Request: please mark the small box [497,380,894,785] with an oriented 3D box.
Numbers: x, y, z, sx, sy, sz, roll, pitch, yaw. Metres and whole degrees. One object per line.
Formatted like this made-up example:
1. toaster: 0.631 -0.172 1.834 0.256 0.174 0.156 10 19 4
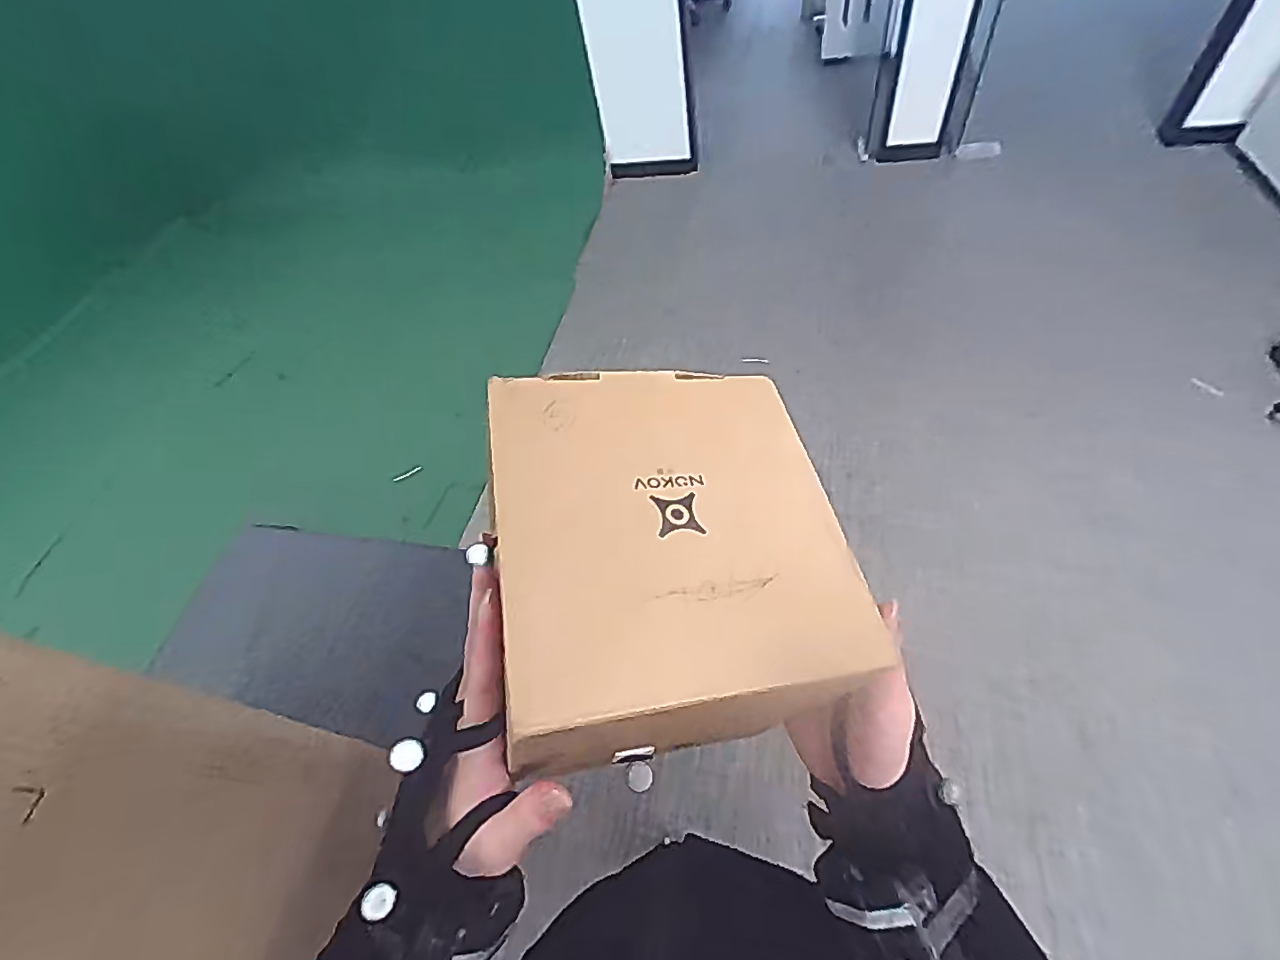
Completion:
1. small box: 0.002 0.062 0.321 0.168 0.176 0.179 -3 57 -15
